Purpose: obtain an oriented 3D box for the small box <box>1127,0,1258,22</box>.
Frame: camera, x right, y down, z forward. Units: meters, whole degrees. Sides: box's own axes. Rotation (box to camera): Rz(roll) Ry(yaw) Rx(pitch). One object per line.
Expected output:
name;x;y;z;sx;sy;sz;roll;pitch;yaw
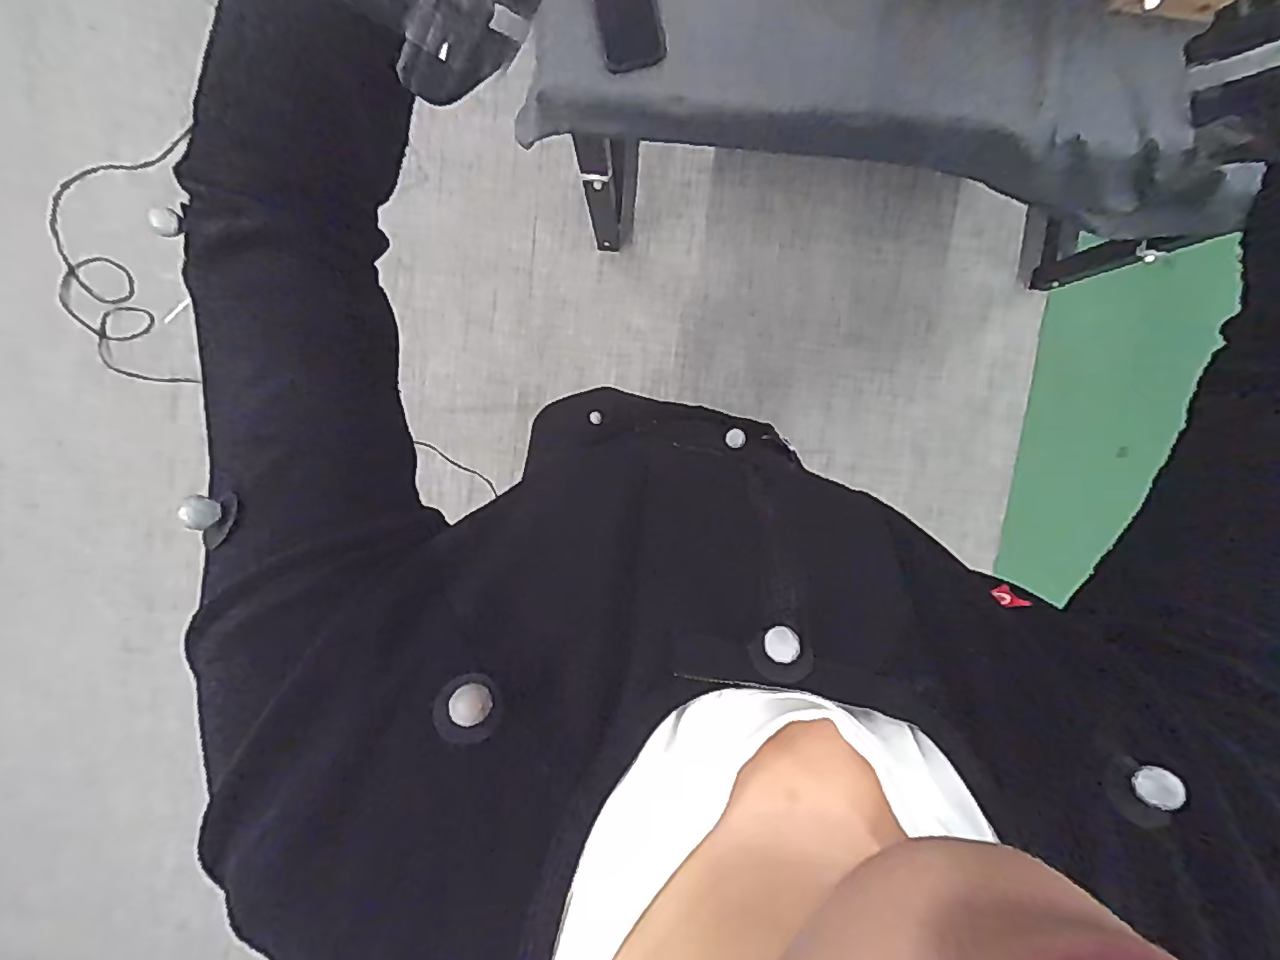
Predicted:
small box;0.666;-0.651;0.584;0.168;0.176;0.179;7;96;-2
